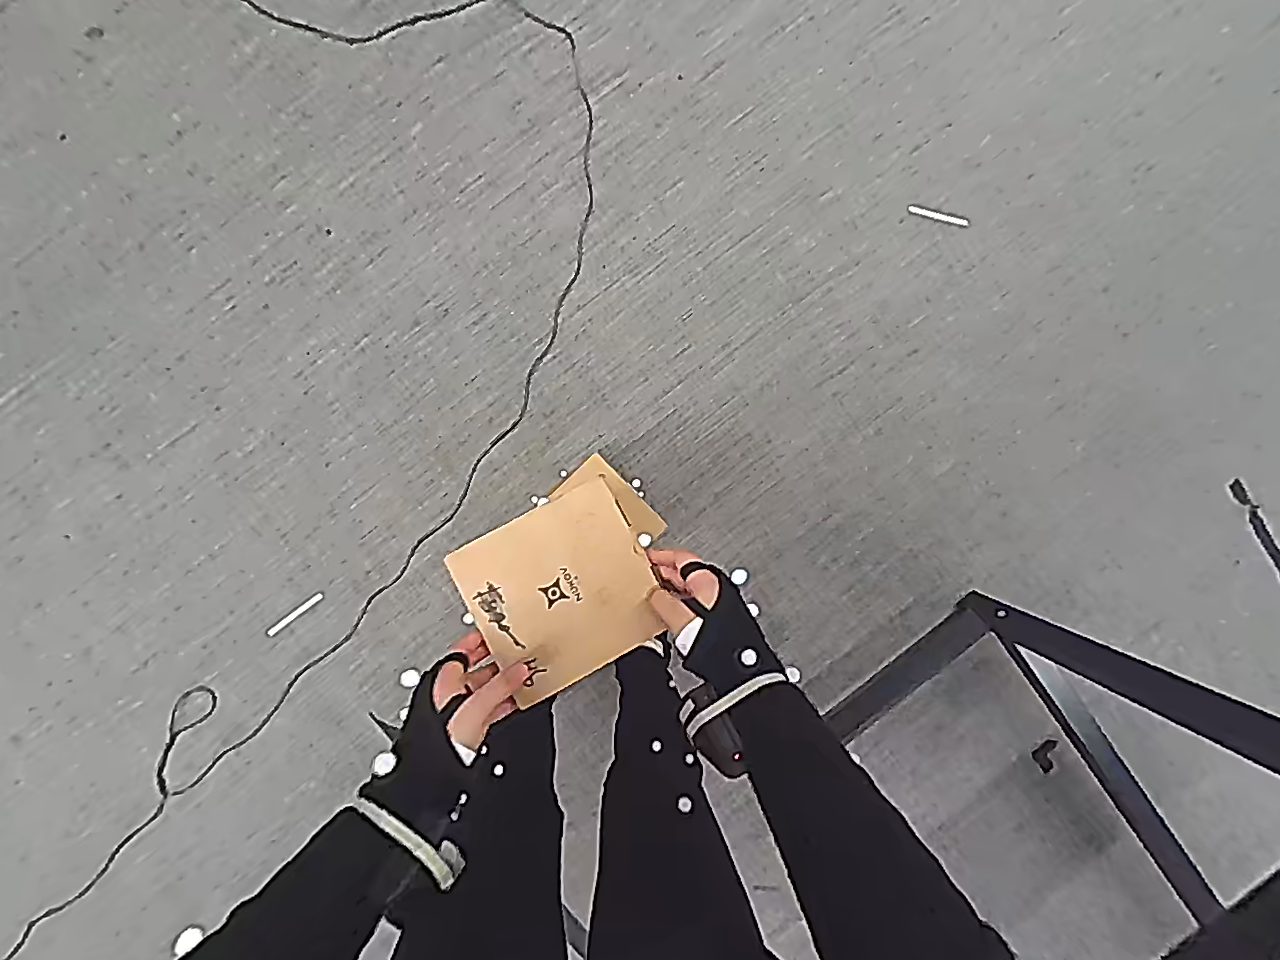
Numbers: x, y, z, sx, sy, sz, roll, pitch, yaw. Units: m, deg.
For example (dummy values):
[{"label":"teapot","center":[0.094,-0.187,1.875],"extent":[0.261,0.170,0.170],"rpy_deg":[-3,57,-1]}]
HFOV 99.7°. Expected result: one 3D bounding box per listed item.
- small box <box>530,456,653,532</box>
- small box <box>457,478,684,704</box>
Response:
[{"label":"small box","center":[-0.097,0.065,1.083],"extent":[0.179,0.176,0.168],"rpy_deg":[-41,96,0]},{"label":"small box","center":[-0.074,0.113,0.611],"extent":[0.179,0.176,0.168],"rpy_deg":[-29,87,-6]}]
